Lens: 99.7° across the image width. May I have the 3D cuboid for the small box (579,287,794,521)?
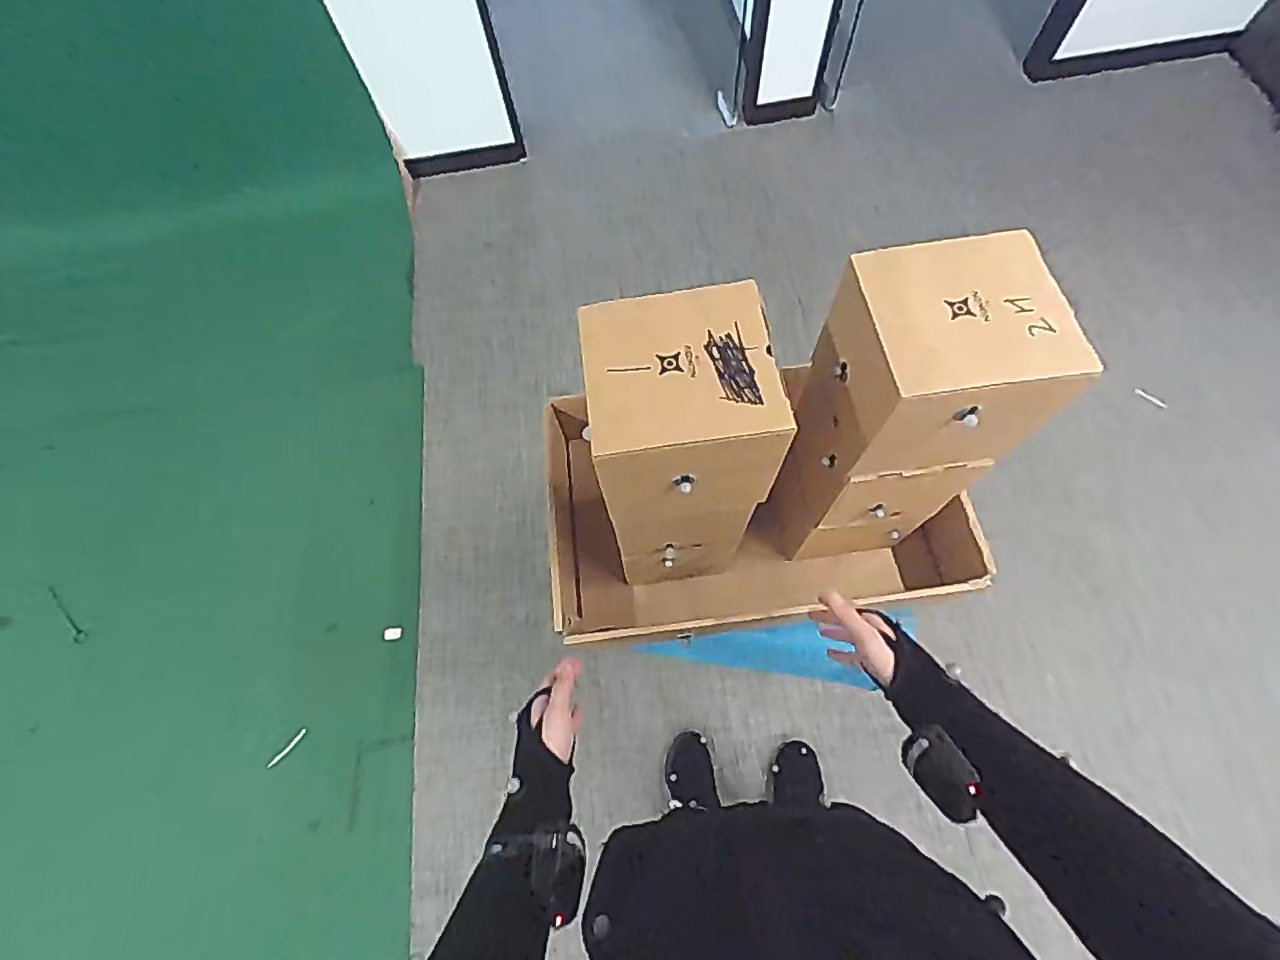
[{"bbox_3d":[0.040,-0.068,0.558,0.179,0.176,0.168,-8,65,1],"label":"small box"}]

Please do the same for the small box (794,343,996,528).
[{"bbox_3d":[0.313,-0.052,0.710,0.168,0.176,0.179,-7,66,1],"label":"small box"}]

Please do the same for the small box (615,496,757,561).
[{"bbox_3d":[0.046,-0.007,0.710,0.168,0.176,0.179,-7,66,1],"label":"small box"}]
